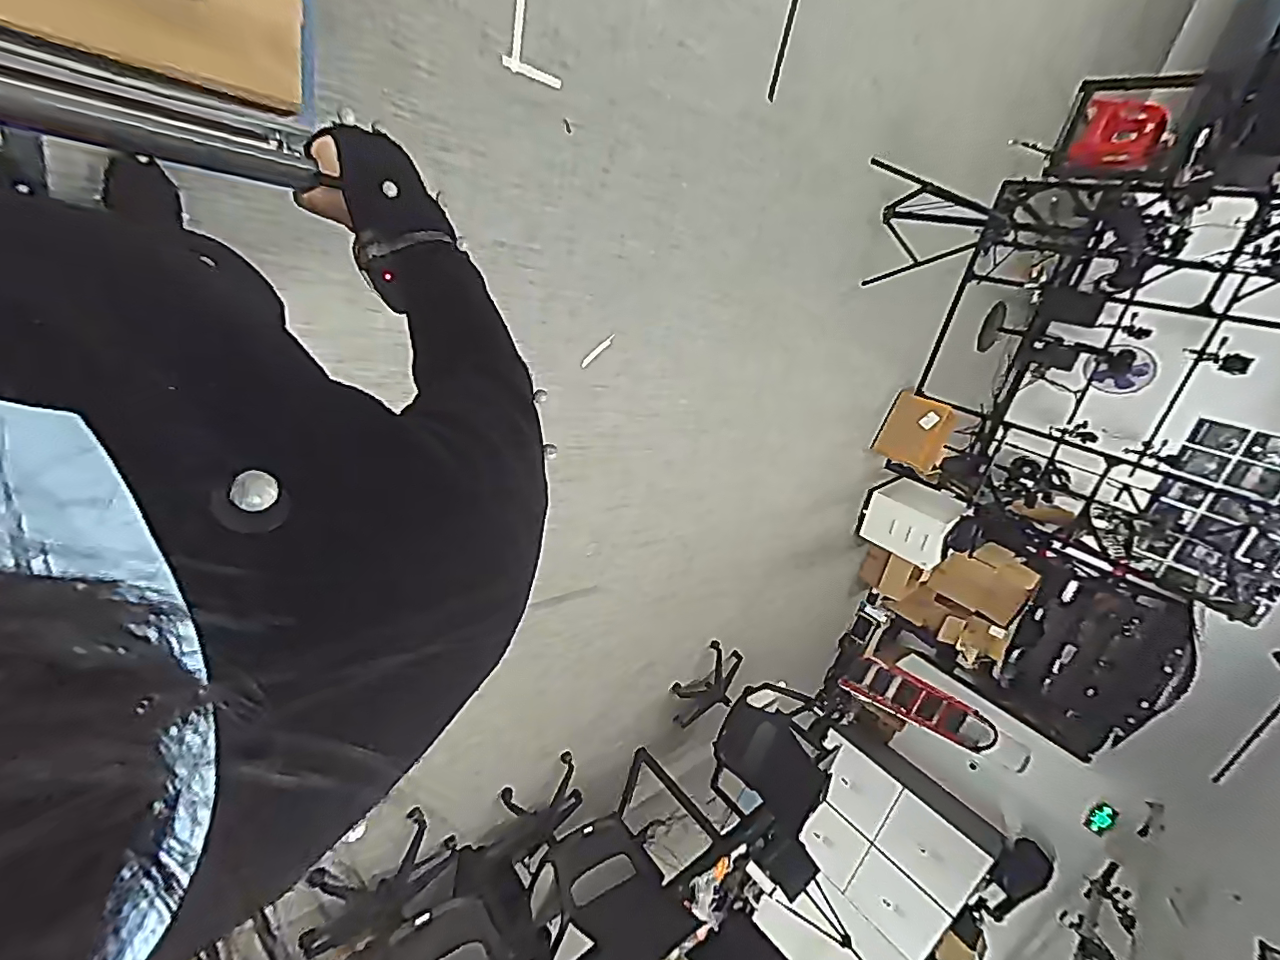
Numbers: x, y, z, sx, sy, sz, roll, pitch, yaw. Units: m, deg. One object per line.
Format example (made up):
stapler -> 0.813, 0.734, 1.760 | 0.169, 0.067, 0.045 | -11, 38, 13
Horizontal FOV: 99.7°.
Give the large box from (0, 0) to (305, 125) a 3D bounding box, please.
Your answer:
large box -> -0.688, -0.676, 0.666 | 0.408, 0.320, 0.320 | -9, 121, -43
